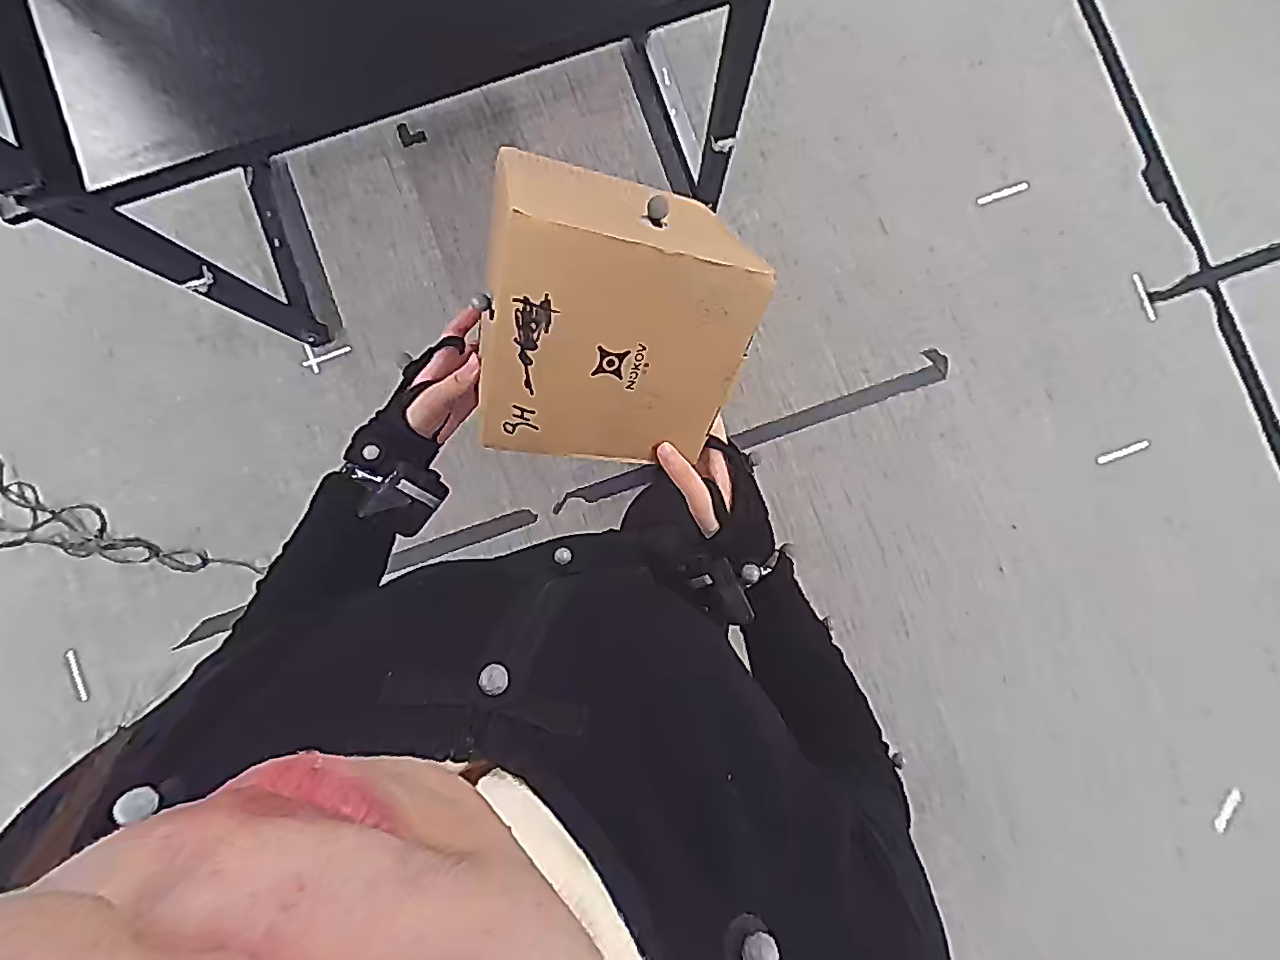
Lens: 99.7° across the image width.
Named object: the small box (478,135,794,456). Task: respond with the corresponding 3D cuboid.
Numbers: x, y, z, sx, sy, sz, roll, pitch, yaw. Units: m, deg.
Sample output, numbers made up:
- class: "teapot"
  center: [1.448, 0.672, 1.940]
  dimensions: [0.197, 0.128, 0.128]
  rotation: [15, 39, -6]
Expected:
- class: "small box"
  center: [-0.024, -0.138, 0.412]
  dimensions: [0.179, 0.176, 0.168]
  rotation: [4, 129, -21]
